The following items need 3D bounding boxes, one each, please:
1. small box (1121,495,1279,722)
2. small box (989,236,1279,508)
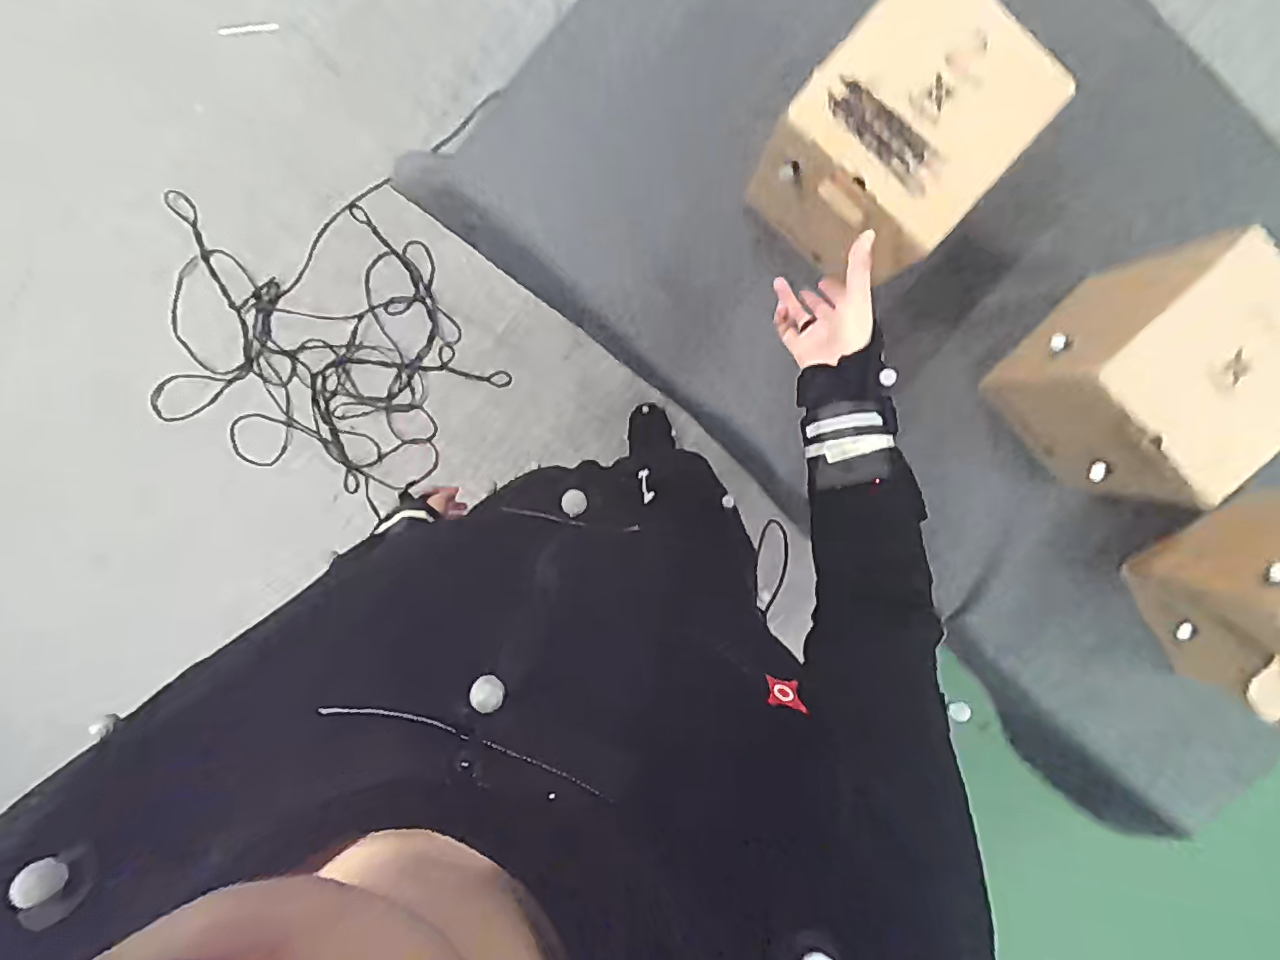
[{"bbox_3d":[0.685,0.133,0.573,0.179,0.176,0.168,-33,96,3],"label":"small box"},{"bbox_3d":[0.499,-0.098,0.546,0.168,0.176,0.179,44,93,-6],"label":"small box"}]
